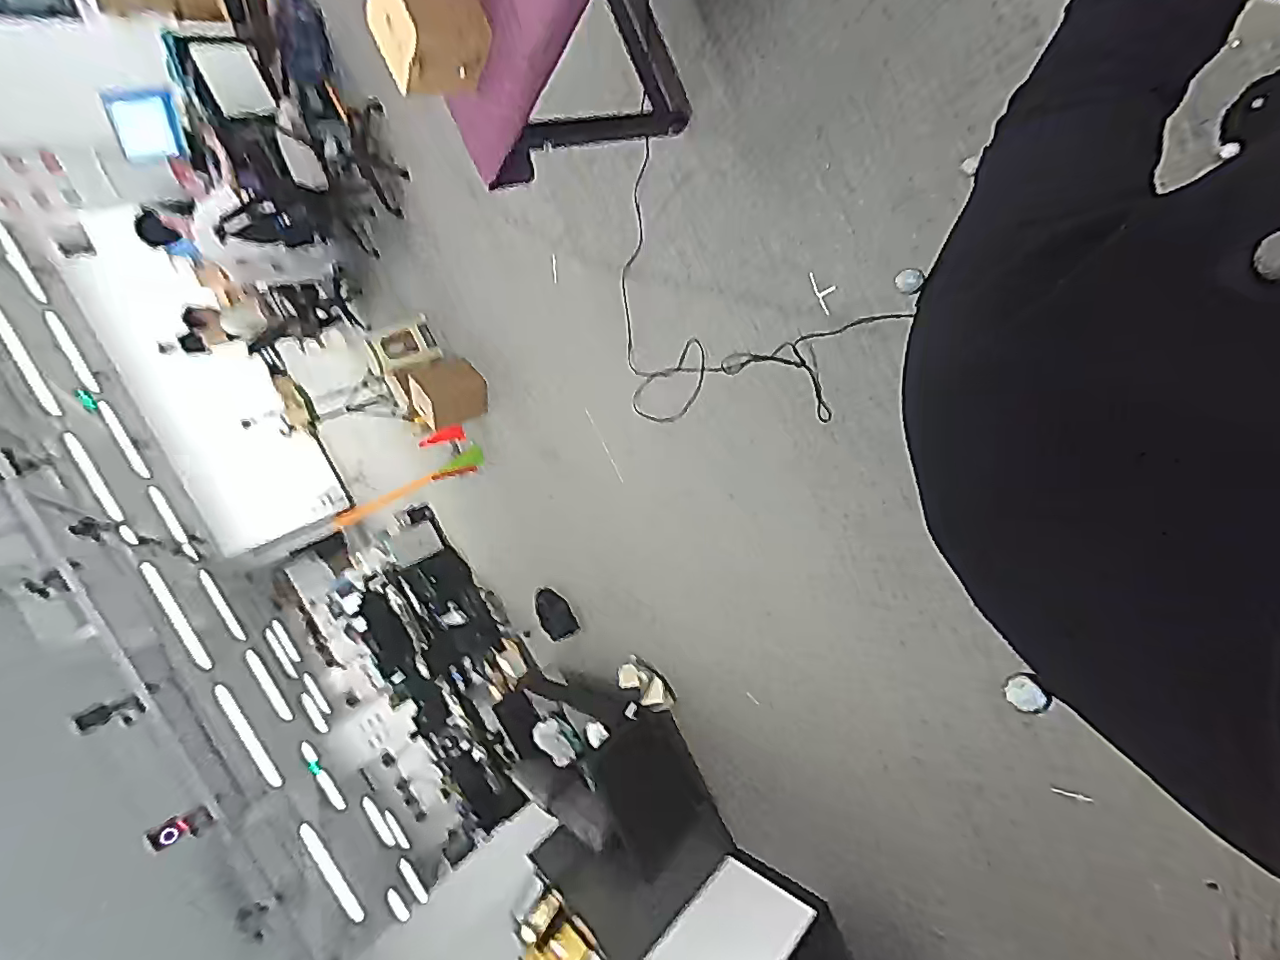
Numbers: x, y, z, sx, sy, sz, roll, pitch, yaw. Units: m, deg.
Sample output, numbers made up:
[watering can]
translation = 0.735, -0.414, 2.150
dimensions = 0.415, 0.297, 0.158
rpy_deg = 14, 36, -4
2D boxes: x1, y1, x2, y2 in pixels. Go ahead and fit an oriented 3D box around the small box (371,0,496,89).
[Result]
[small box]
translation = -0.428, -0.955, 1.124
dimensions = 0.168, 0.176, 0.179
rpy_deg = -15, 102, 57
